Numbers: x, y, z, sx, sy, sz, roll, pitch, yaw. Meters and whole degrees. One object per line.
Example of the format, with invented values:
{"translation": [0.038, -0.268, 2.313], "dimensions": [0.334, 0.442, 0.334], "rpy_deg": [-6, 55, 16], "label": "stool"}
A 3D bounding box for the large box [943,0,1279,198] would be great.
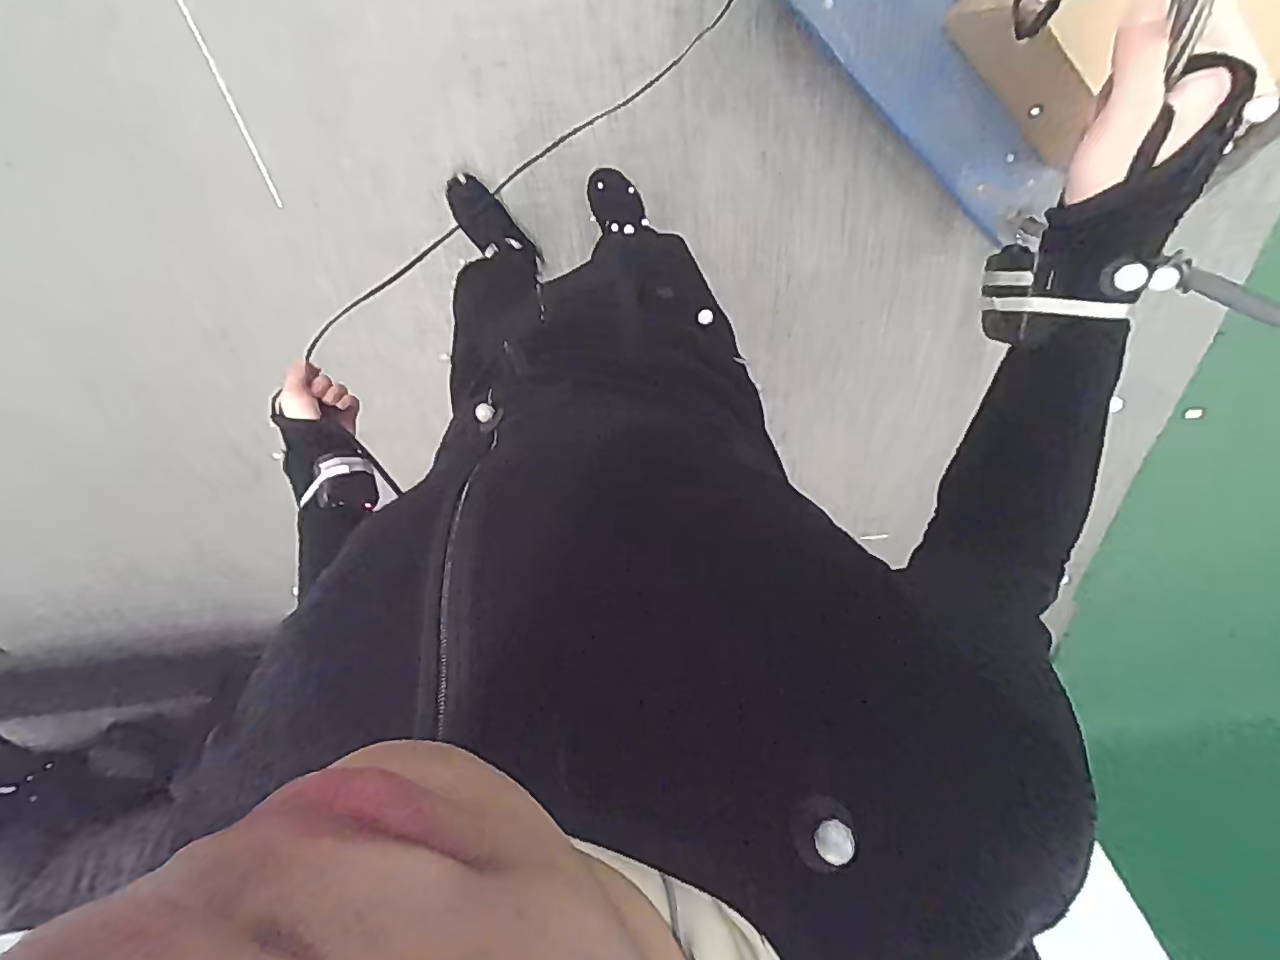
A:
{"translation": [0.806, -0.754, 0.891], "dimensions": [0.408, 0.320, 0.320], "rpy_deg": [32, 120, -21], "label": "large box"}
